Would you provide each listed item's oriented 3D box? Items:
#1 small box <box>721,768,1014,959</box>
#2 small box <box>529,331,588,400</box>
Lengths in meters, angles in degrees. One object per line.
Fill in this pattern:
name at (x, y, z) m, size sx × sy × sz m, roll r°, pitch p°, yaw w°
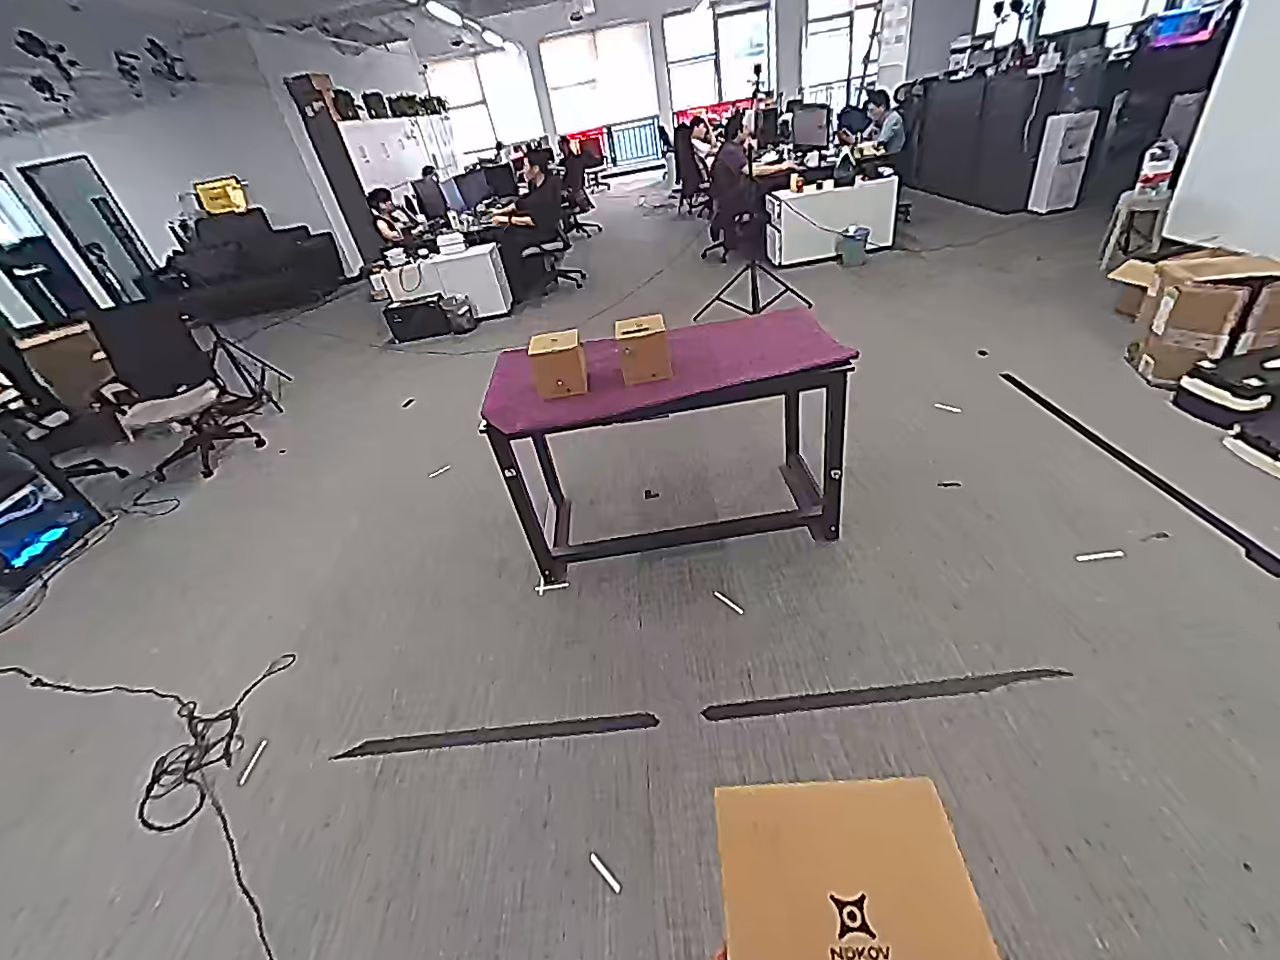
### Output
small box at (0.149, 0.338, 0.392) m, size 0.168 × 0.176 × 0.179 m, roll -6°, pitch 38°, yaw 5°
small box at (-0.274, -0.393, 1.860) m, size 0.168 × 0.176 × 0.179 m, roll -9°, pitch 35°, yaw 1°
